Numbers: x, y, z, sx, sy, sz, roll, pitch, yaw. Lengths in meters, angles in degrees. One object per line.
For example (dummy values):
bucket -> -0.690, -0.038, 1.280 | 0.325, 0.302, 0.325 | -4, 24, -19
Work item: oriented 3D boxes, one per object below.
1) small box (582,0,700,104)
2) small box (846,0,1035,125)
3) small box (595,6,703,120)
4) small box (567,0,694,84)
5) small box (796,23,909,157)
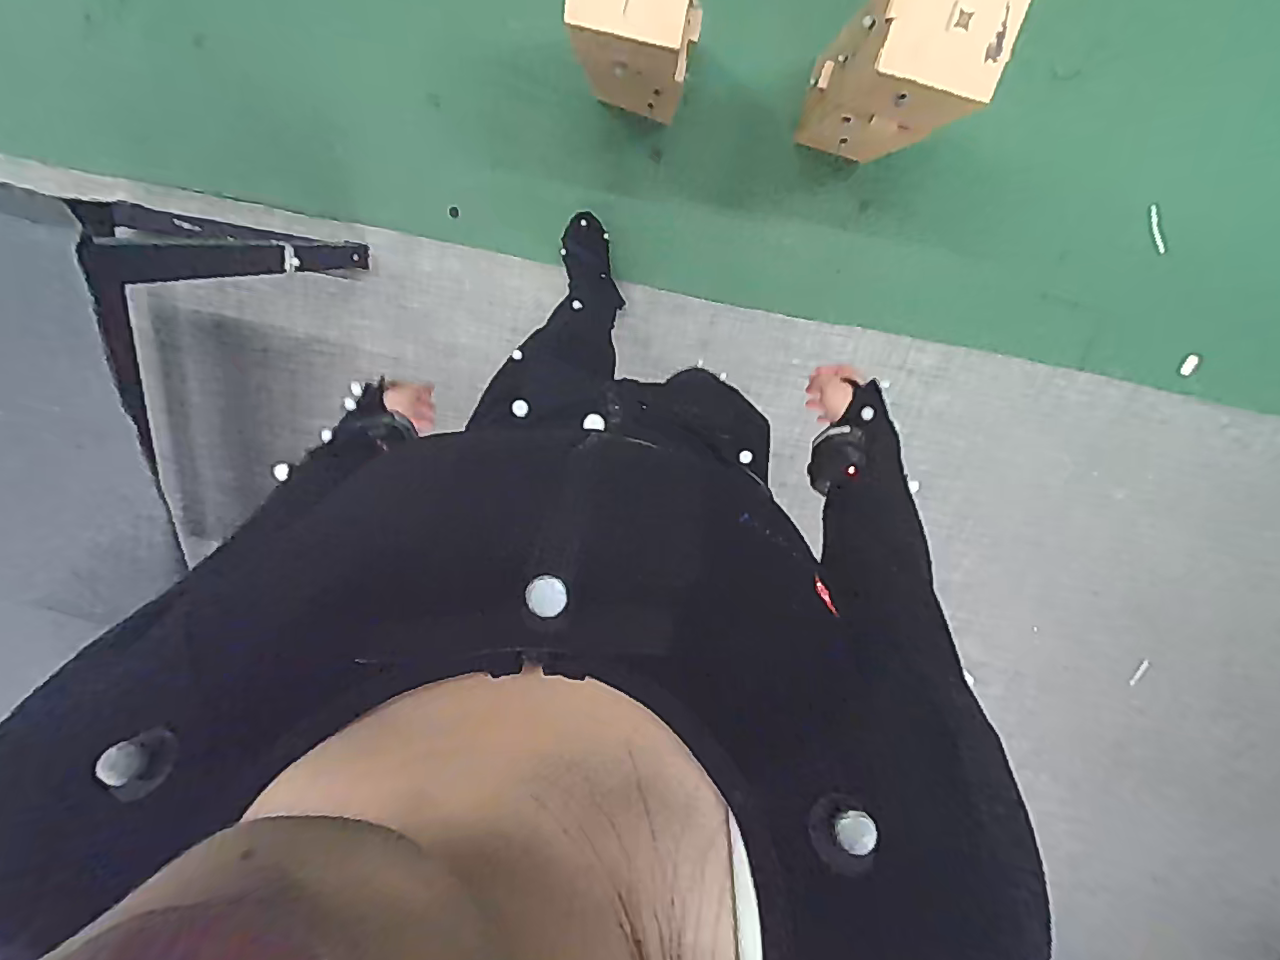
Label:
small box -> 0.005, -0.769, 0.928 | 0.179, 0.176, 0.168 | 8, 112, -2
small box -> 0.432, -0.650, 0.796 | 0.179, 0.176, 0.168 | 13, 112, -4
small box -> 0.010, -0.843, 1.073 | 0.179, 0.176, 0.168 | 16, 112, -6
small box -> -0.003, -0.709, 0.774 | 0.168, 0.176, 0.179 | 11, 113, -4
small box -> 0.445, -0.776, 1.098 | 0.179, 0.176, 0.168 | 14, 113, -6
